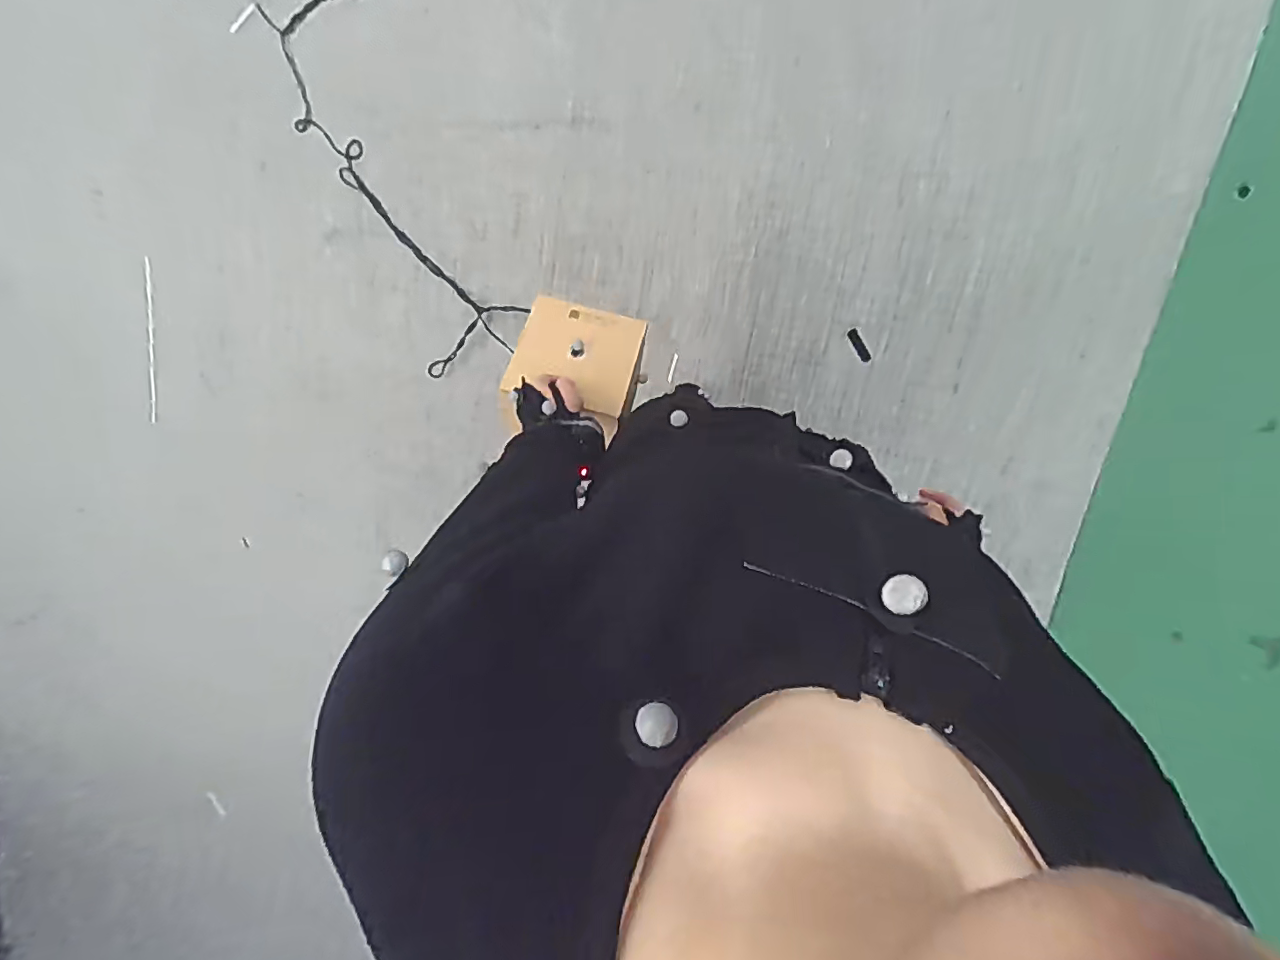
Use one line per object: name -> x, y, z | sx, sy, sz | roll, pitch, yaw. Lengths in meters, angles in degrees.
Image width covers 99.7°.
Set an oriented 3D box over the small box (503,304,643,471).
small box -> -0.093, -0.137, 0.821 | 0.168, 0.179, 0.176 | 13, 67, 1
